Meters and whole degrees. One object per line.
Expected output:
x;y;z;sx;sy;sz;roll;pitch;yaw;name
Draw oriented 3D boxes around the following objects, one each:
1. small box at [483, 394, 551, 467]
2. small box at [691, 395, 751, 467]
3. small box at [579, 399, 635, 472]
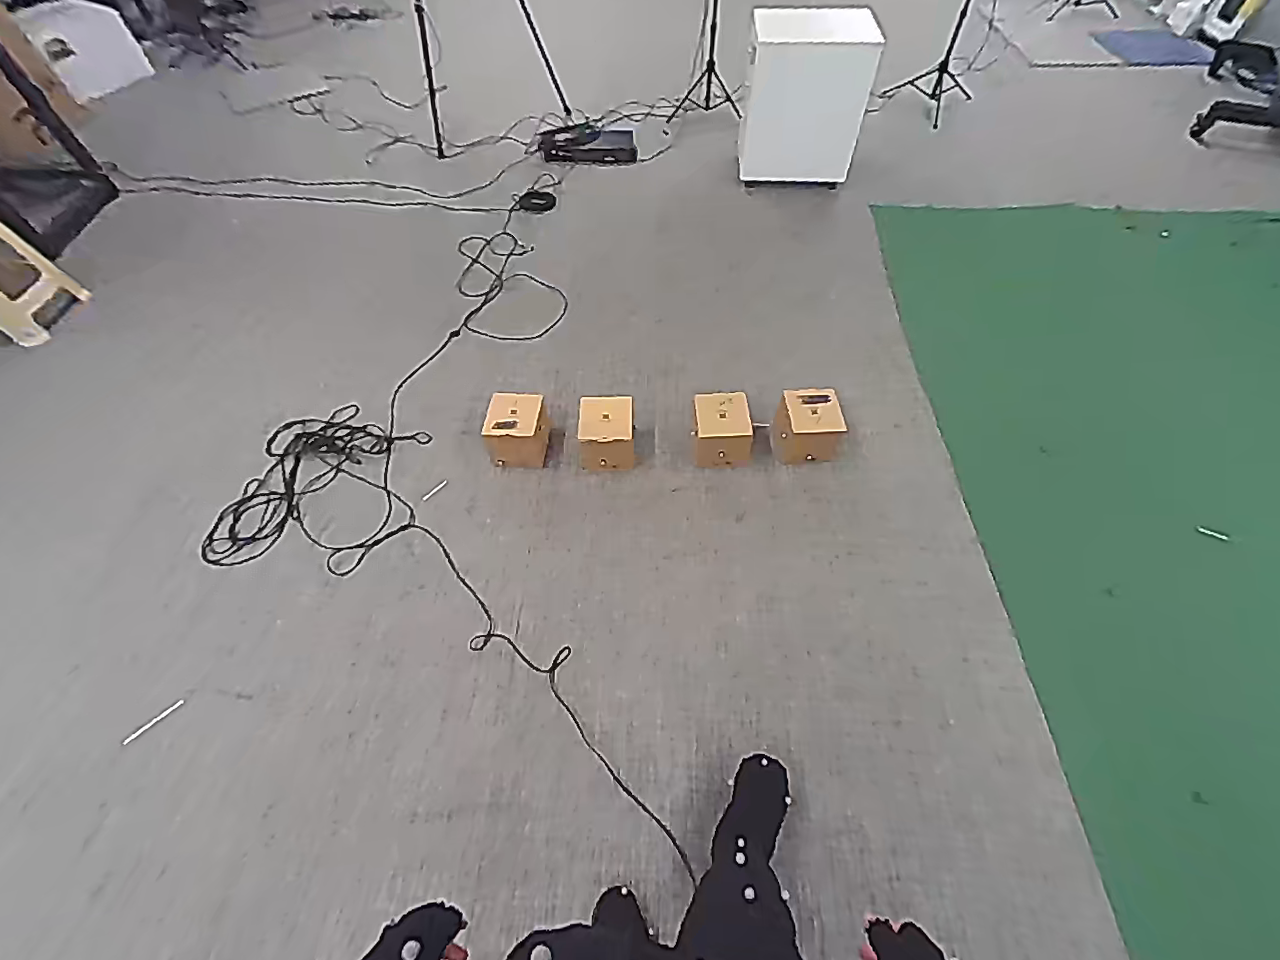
-0.393;-0.157;1.763;0.168;0.176;0.179;3;56;3;small box
0.257;-0.154;1.749;0.168;0.176;0.179;-2;56;-1;small box
-0.103;-0.144;1.751;0.168;0.176;0.179;-1;57;1;small box
